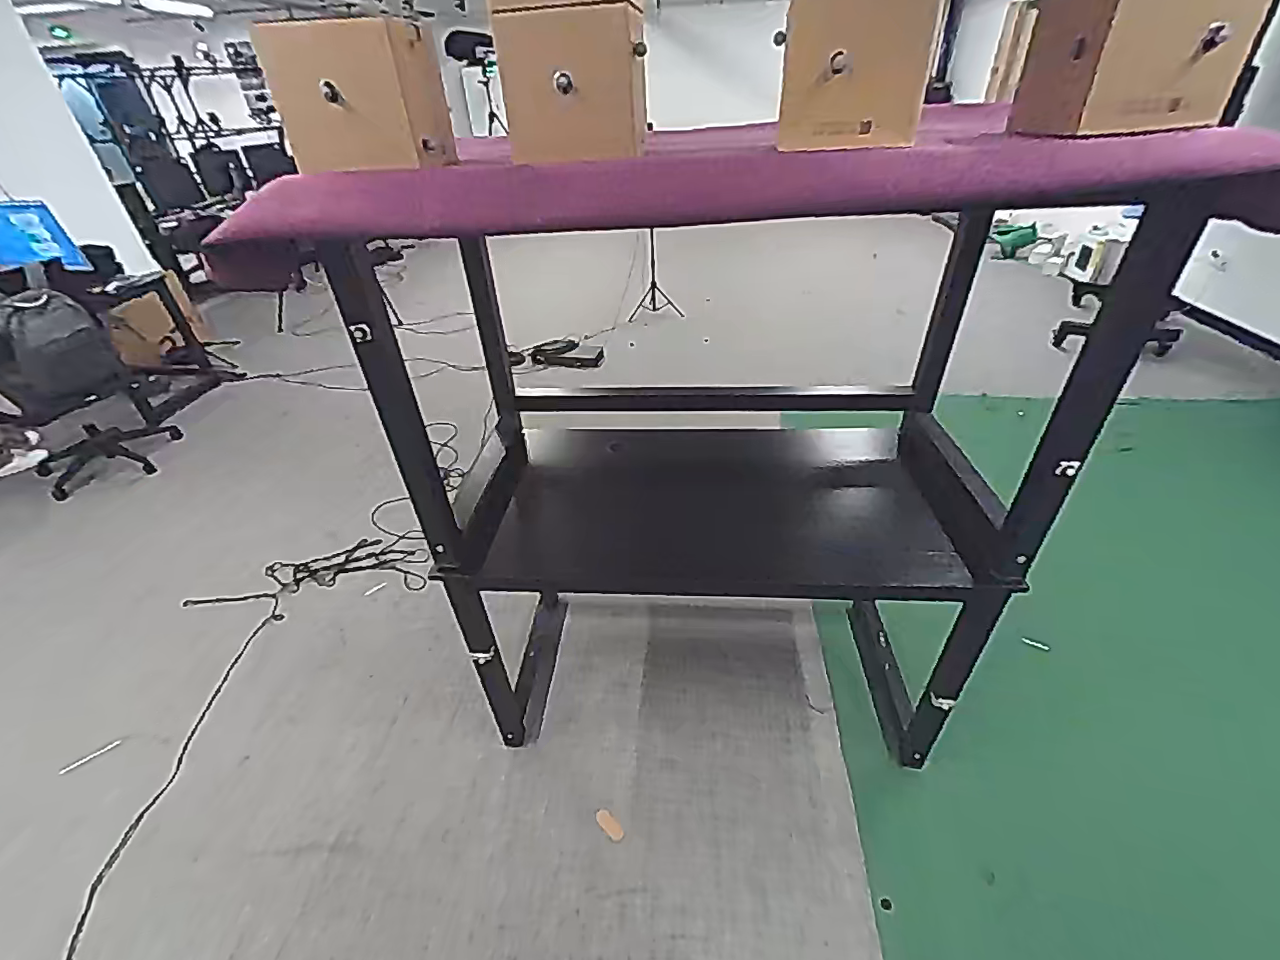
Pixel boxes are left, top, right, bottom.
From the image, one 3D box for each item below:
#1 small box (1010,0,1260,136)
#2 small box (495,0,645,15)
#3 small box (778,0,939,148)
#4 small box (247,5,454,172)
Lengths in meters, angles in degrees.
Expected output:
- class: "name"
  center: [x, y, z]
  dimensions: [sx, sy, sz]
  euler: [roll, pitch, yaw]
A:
- class: "small box"
  center: [0.617, -0.543, 0.686]
  dimensions: [0.168, 0.176, 0.179]
  euler: [0, 34, 4]
- class: "small box"
  center: [-0.088, -0.690, 0.663]
  dimensions: [0.179, 0.176, 0.168]
  euler: [2, 36, 8]
- class: "small box"
  center: [0.276, -0.540, 0.713]
  dimensions: [0.168, 0.176, 0.179]
  euler: [4, 35, 10]
- class: "small box"
  center: [-0.379, -0.538, 0.752]
  dimensions: [0.179, 0.176, 0.168]
  euler: [-1, 36, 3]
